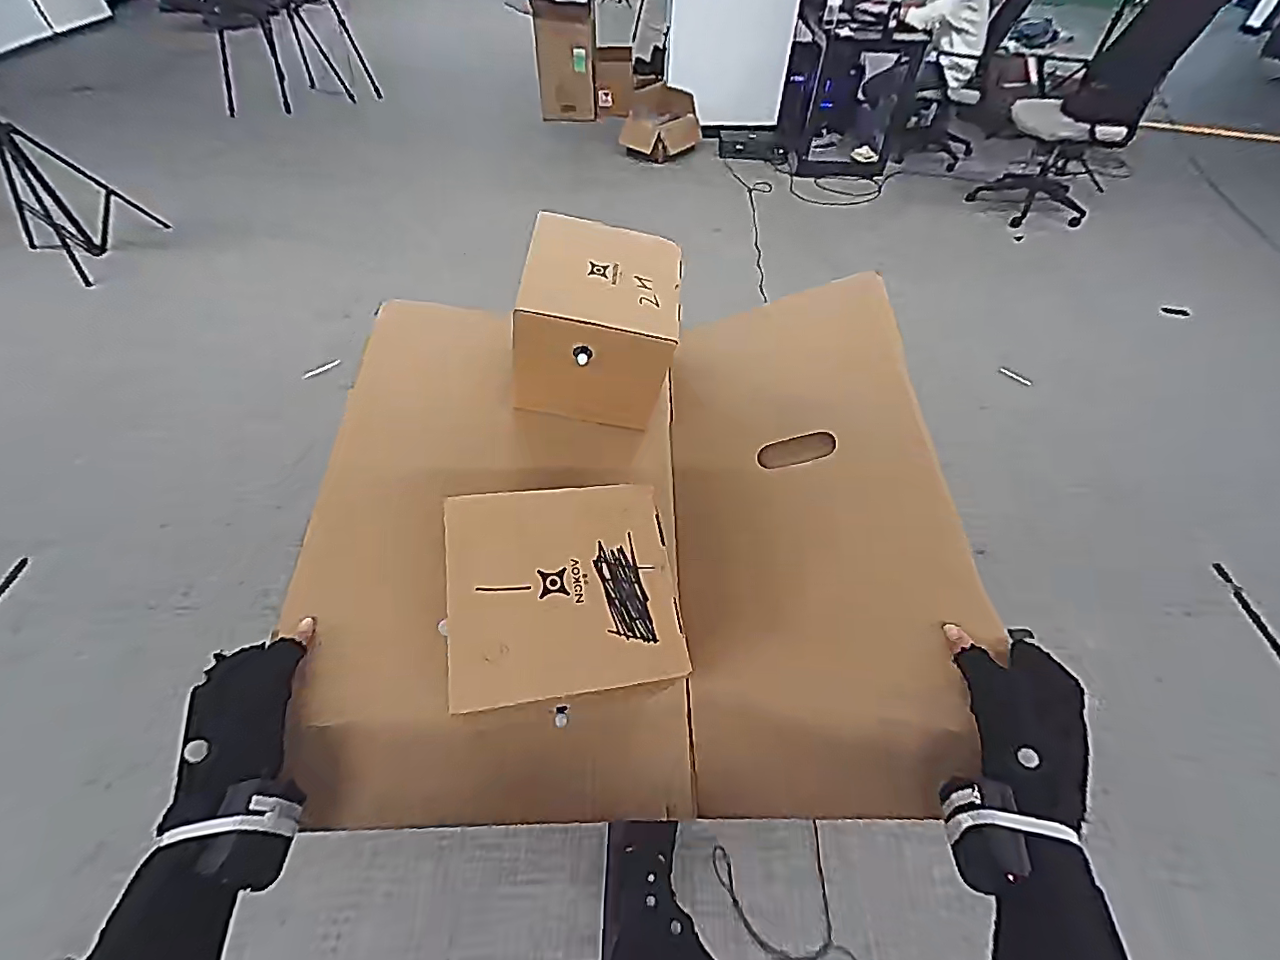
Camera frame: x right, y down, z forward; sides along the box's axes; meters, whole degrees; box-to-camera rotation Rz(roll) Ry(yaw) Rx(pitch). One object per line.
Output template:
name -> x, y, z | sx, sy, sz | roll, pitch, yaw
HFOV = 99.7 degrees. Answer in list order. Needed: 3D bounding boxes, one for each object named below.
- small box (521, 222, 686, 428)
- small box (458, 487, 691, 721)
small box -> -0.050, -0.185, 0.682 | 0.179, 0.176, 0.168 | 10, 59, -8
small box -> -0.072, 0.119, 0.504 | 0.179, 0.176, 0.168 | -3, 62, -15
